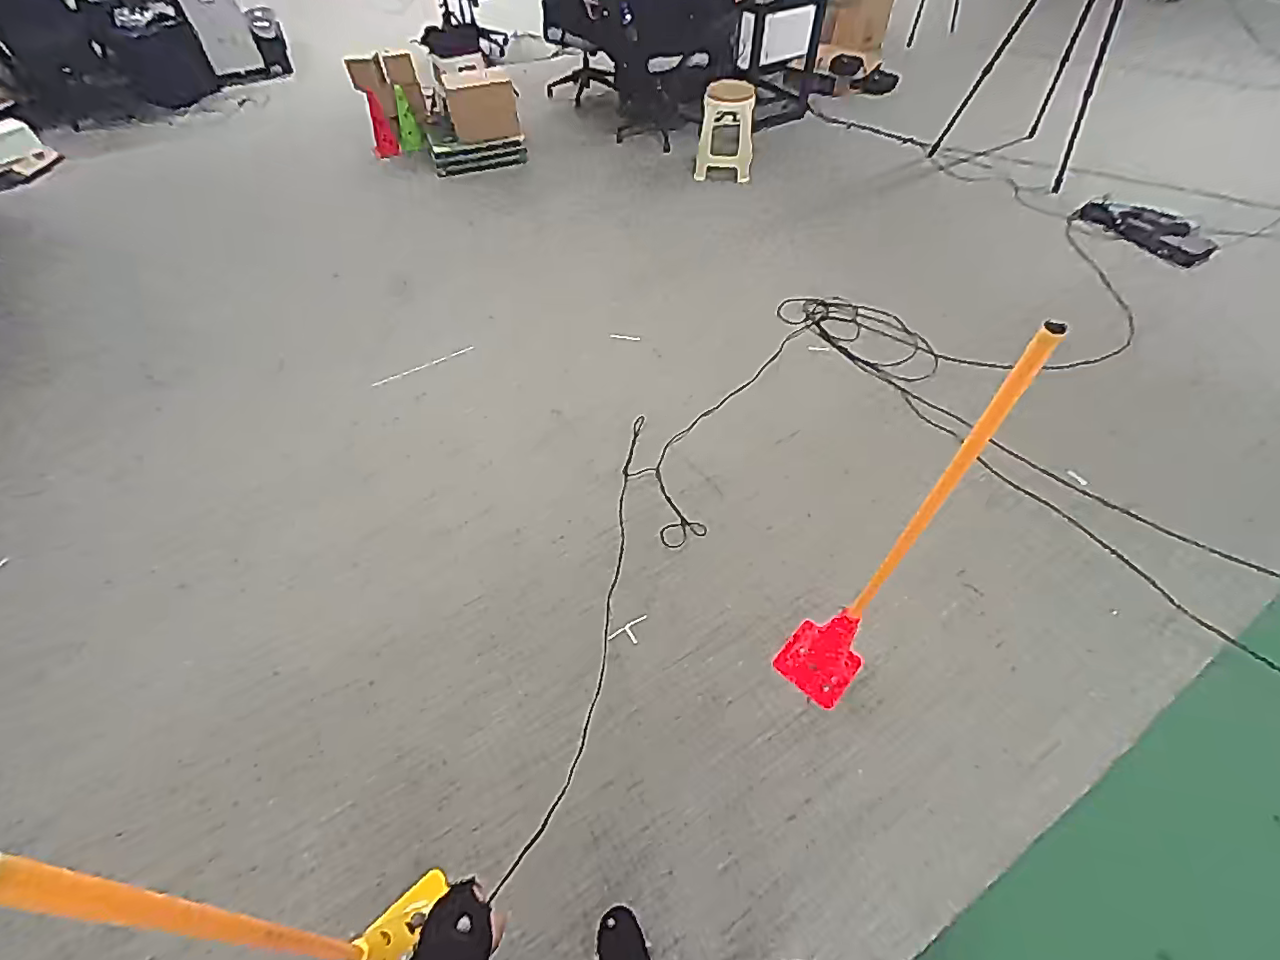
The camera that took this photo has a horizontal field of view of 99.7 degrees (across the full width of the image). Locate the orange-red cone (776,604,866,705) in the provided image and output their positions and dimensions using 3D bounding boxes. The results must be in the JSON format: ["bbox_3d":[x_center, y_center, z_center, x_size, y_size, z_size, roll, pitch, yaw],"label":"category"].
[{"bbox_3d":[0.524,0.420,1.440,0.198,0.360,0.199,37,60,24],"label":"orange-red cone"}]
